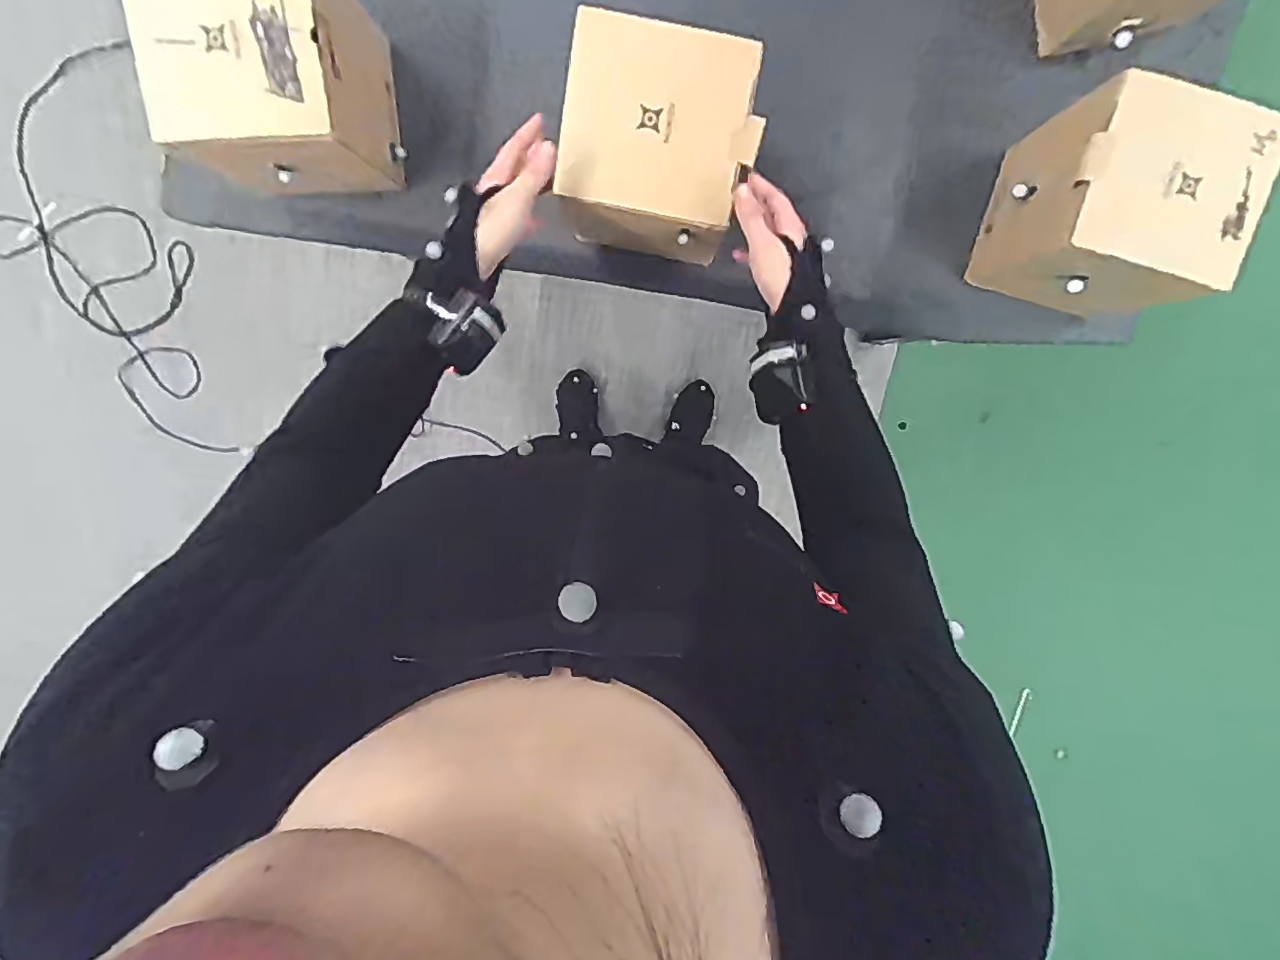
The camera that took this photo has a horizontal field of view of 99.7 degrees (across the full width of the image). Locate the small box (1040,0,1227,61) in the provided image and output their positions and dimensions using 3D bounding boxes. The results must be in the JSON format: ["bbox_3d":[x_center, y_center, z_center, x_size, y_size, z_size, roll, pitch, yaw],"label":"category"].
[{"bbox_3d":[0.533,-0.572,0.537,0.168,0.176,0.179,-12,104,6],"label":"small box"}]

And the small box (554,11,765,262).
[{"bbox_3d":[0.017,-0.350,0.588,0.179,0.176,0.168,10,101,-1],"label":"small box"}]

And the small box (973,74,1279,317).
[{"bbox_3d":[0.513,-0.289,0.593,0.179,0.176,0.168,15,98,-2],"label":"small box"}]

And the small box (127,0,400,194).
[{"bbox_3d":[-0.375,-0.416,0.573,0.179,0.176,0.168,-2,103,1],"label":"small box"}]
